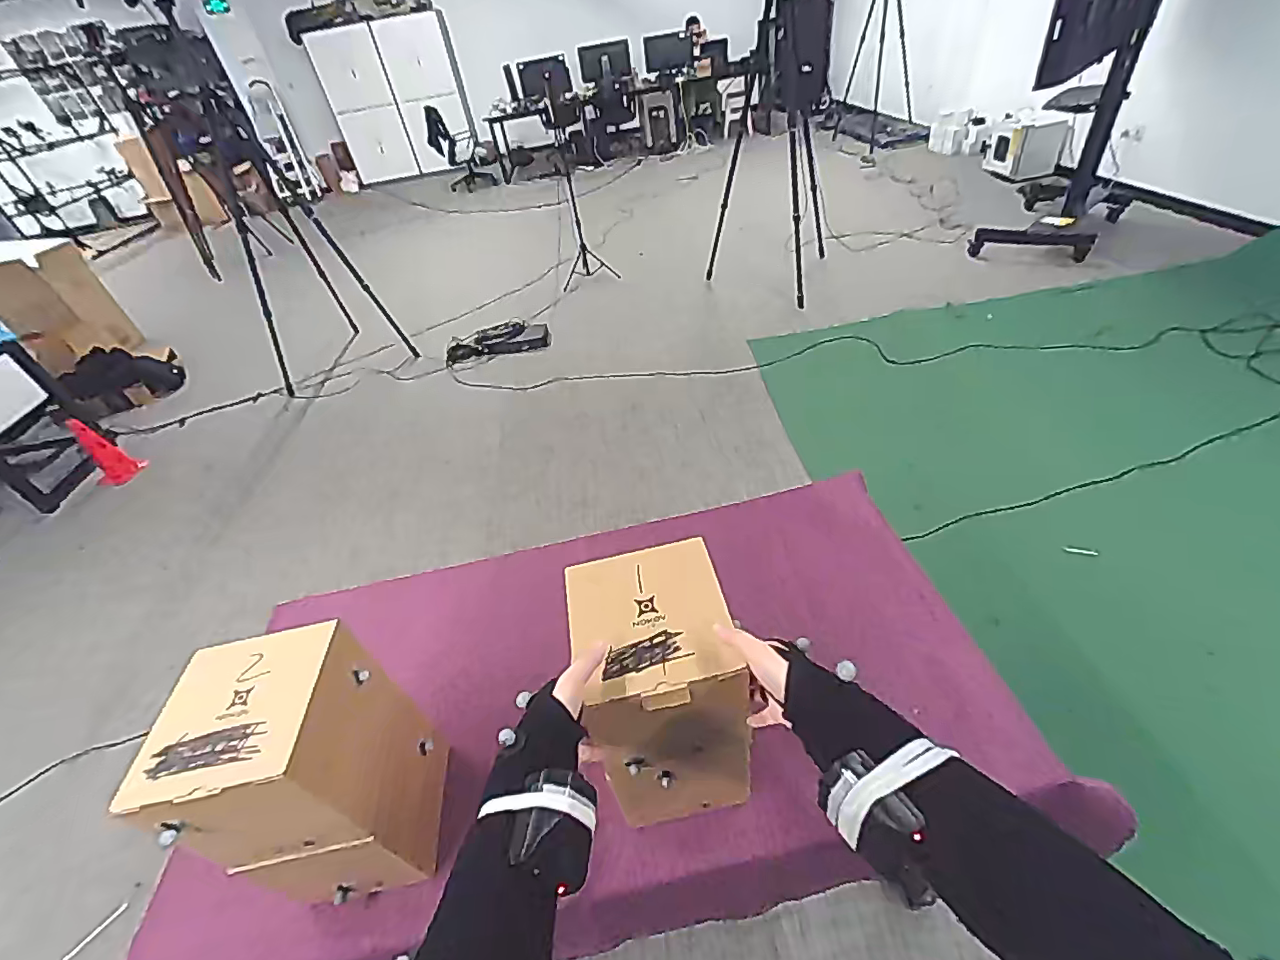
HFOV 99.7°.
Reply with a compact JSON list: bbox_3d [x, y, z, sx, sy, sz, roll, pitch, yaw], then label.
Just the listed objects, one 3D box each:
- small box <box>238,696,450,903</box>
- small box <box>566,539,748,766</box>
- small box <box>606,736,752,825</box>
[{"bbox_3d":[-0.365,0.419,0.712,0.168,0.176,0.179,-12,42,0],"label":"small box"},{"bbox_3d":[0.020,0.201,0.616,0.168,0.176,0.179,-13,41,-2],"label":"small box"},{"bbox_3d":[0.044,0.324,0.723,0.168,0.176,0.179,-14,40,0],"label":"small box"}]
